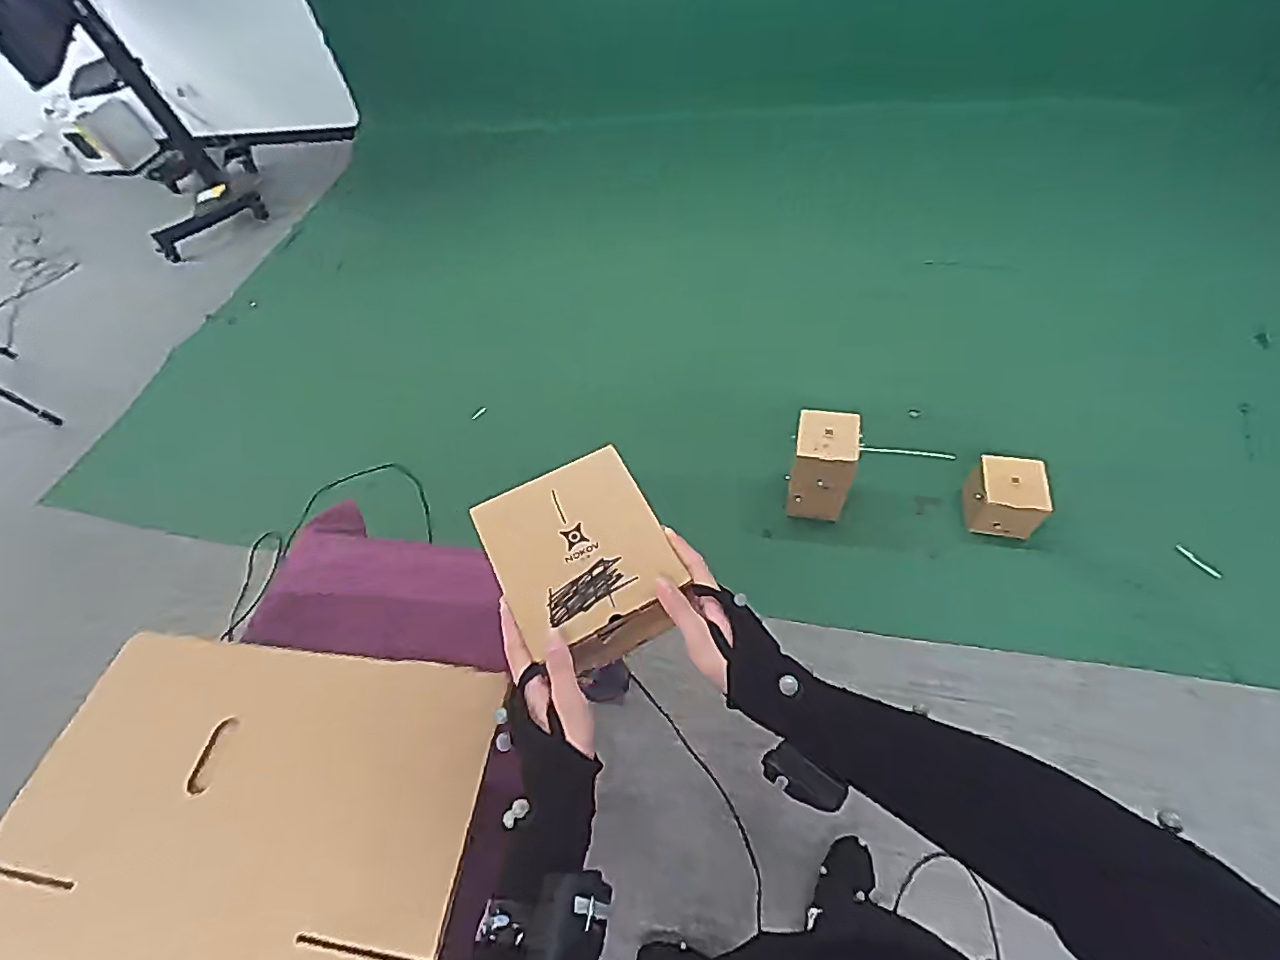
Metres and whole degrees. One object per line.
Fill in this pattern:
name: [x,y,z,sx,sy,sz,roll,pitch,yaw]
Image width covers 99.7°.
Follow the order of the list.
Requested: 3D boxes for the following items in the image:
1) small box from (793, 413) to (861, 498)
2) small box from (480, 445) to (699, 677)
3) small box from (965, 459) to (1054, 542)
small box: [0.550,-0.072,1.599,0.168,0.176,0.179,7,57,15]
small box: [-0.050,0.099,0.595,0.168,0.176,0.179,-25,63,-12]
small box: [1.098,0.063,1.624,0.168,0.176,0.179,7,58,13]
